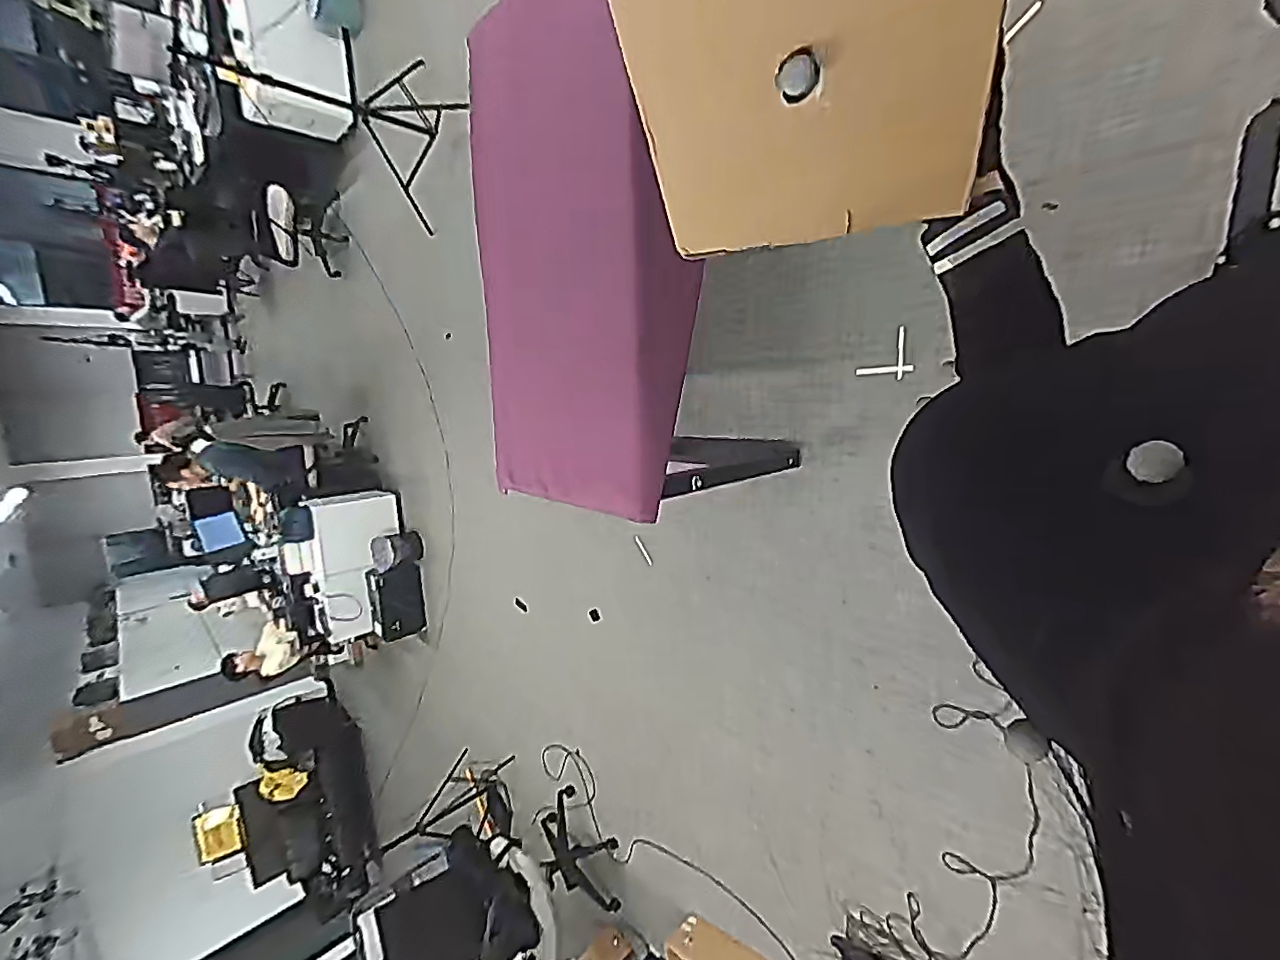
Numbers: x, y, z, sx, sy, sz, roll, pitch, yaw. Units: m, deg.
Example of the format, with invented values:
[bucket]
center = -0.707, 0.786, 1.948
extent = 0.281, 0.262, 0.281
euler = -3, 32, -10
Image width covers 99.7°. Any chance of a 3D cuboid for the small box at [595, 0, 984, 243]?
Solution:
[small box]
center = 0.082, -0.264, 0.289
extent = 0.168, 0.176, 0.179
euler = 1, 56, 23
